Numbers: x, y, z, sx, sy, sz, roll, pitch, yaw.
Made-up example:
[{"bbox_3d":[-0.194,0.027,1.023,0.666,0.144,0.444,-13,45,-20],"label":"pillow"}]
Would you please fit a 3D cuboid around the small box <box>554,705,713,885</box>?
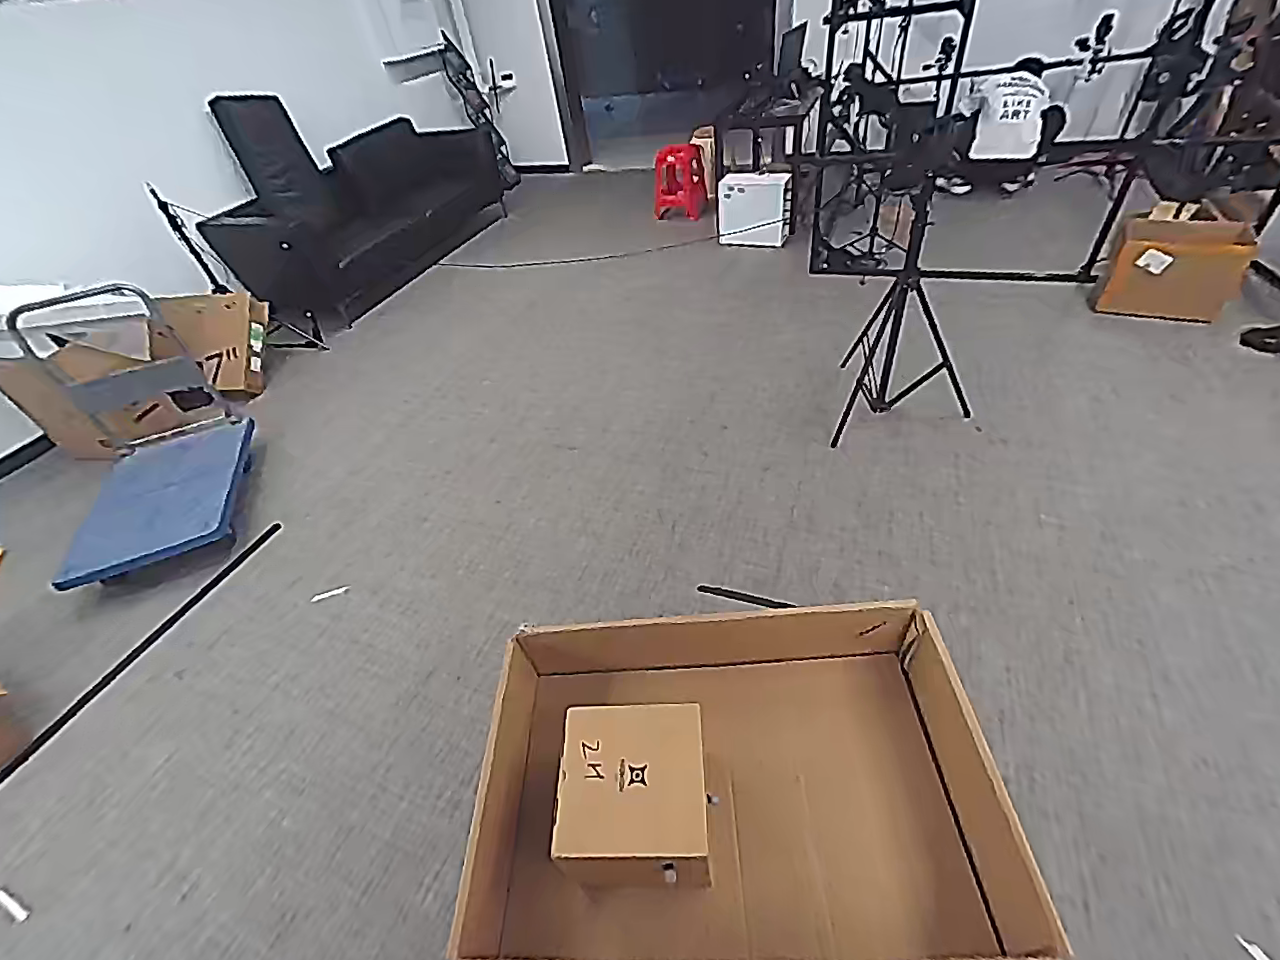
[{"bbox_3d":[0.003,0.406,0.697,0.179,0.176,0.168,-5,44,6],"label":"small box"}]
